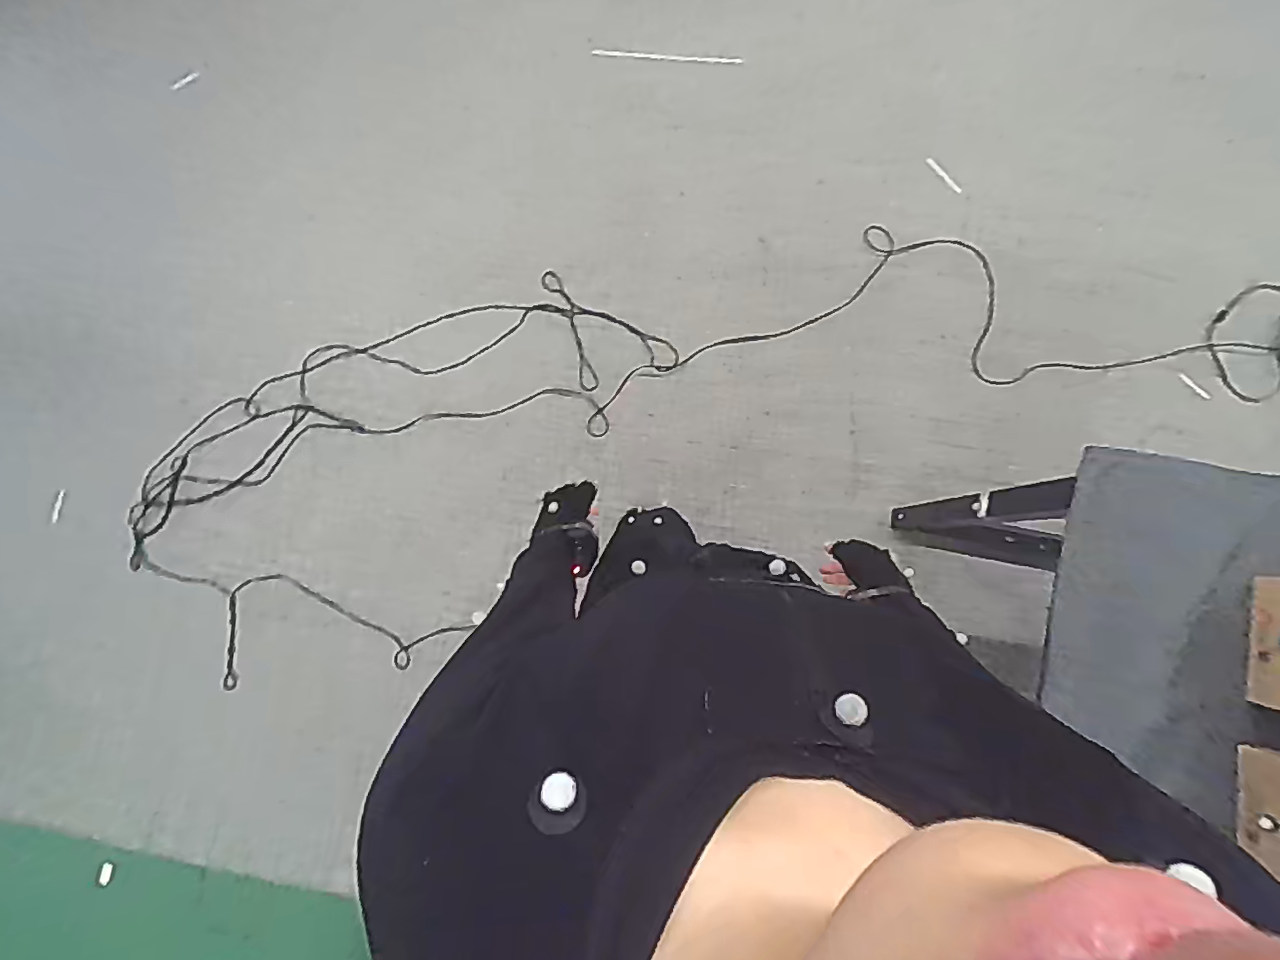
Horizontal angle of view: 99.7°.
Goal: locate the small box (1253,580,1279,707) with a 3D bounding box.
[{"bbox_3d":[0.879,0.209,0.611,0.179,0.176,0.168,9,84,5],"label":"small box"}]
